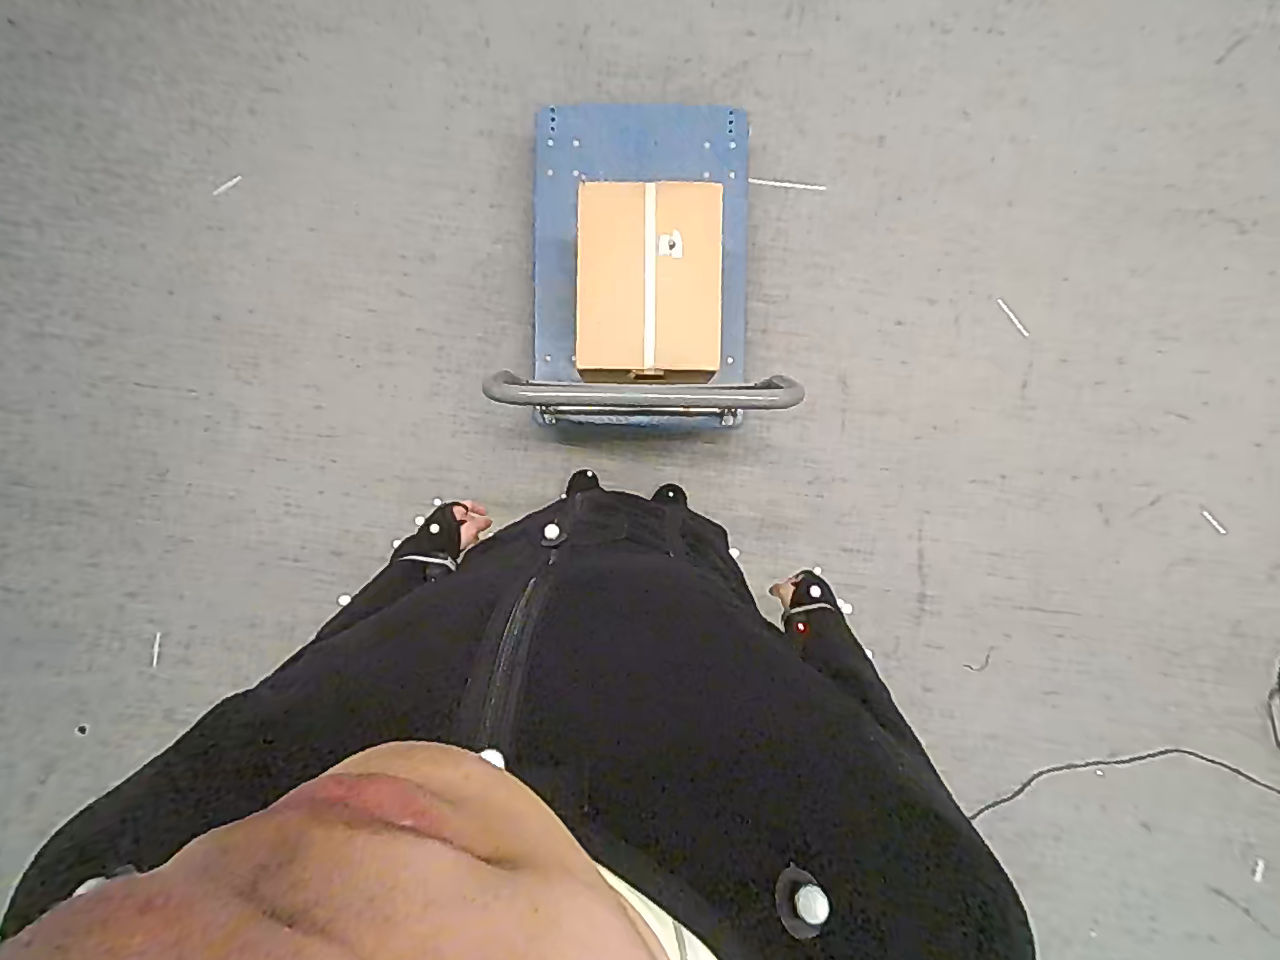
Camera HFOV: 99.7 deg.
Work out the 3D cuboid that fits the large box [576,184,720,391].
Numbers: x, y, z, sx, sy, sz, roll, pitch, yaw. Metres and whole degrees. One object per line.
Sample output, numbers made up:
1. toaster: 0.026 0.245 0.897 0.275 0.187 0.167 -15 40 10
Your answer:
1. large box: 0.019 -0.440 1.321 0.320 0.320 0.408 1 90 -1
